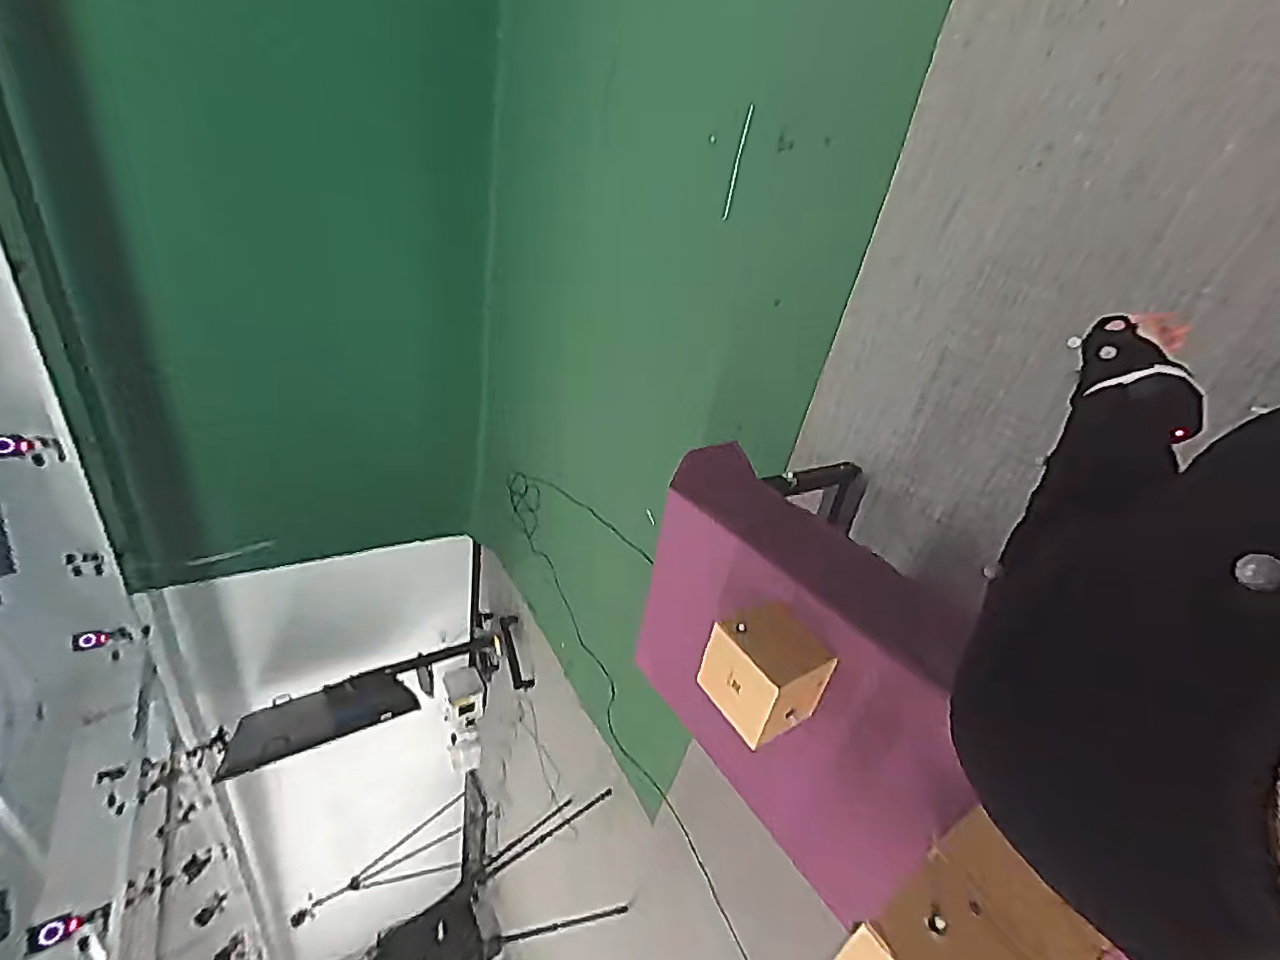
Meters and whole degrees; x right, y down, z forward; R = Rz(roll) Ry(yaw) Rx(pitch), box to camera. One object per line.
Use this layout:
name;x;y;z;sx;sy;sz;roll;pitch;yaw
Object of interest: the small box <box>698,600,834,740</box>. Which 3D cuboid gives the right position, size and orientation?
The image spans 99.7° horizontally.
small box;0.245;0.360;1.059;0.179;0.176;0.168;43;132;44
